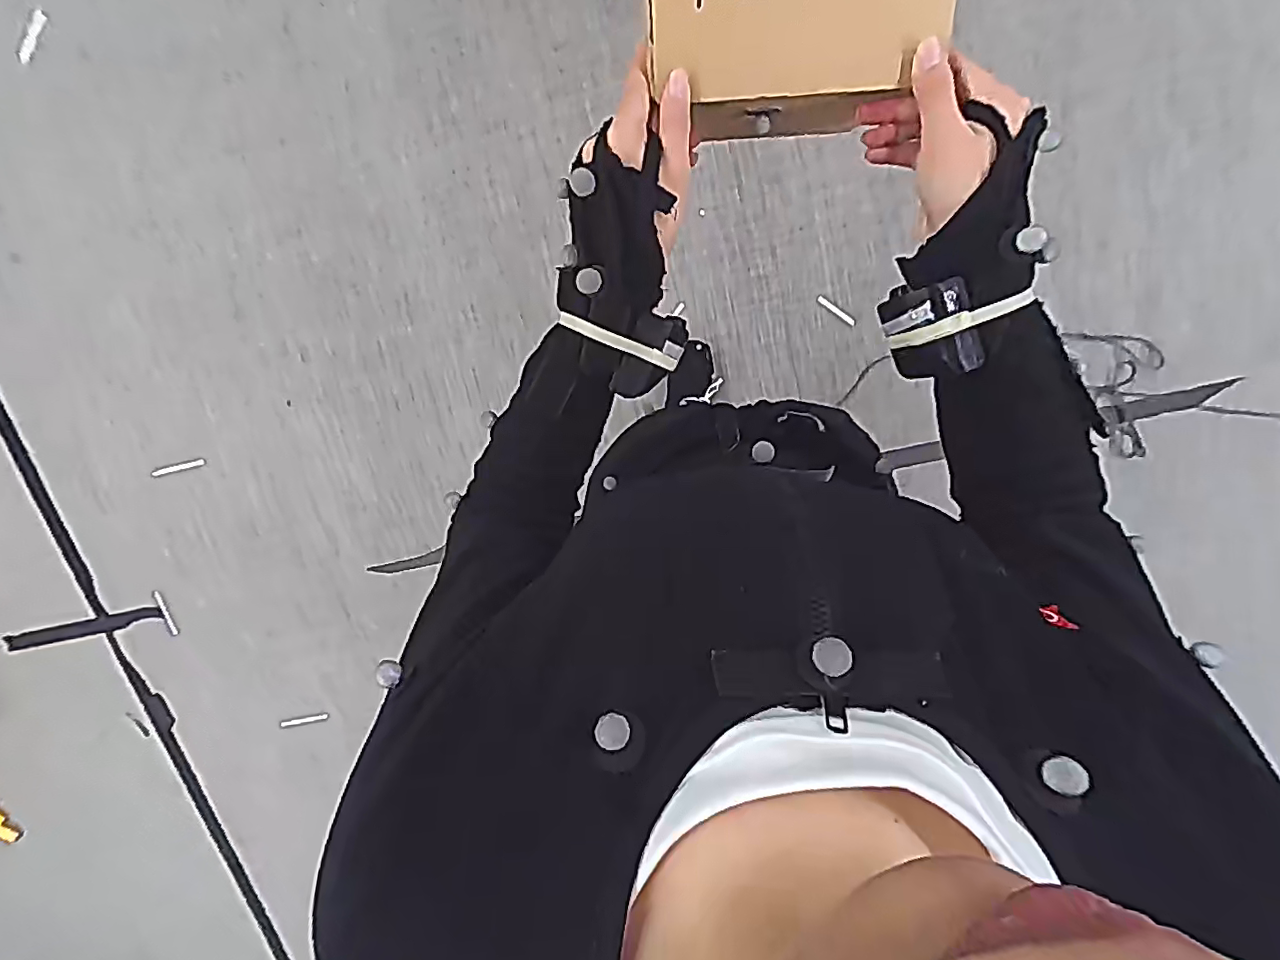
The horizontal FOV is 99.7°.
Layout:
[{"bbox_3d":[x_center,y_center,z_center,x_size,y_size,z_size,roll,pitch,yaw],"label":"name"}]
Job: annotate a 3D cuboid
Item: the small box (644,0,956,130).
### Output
[{"bbox_3d":[0.089,-0.345,0.358,0.179,0.176,0.168,-3,115,1],"label":"small box"}]
